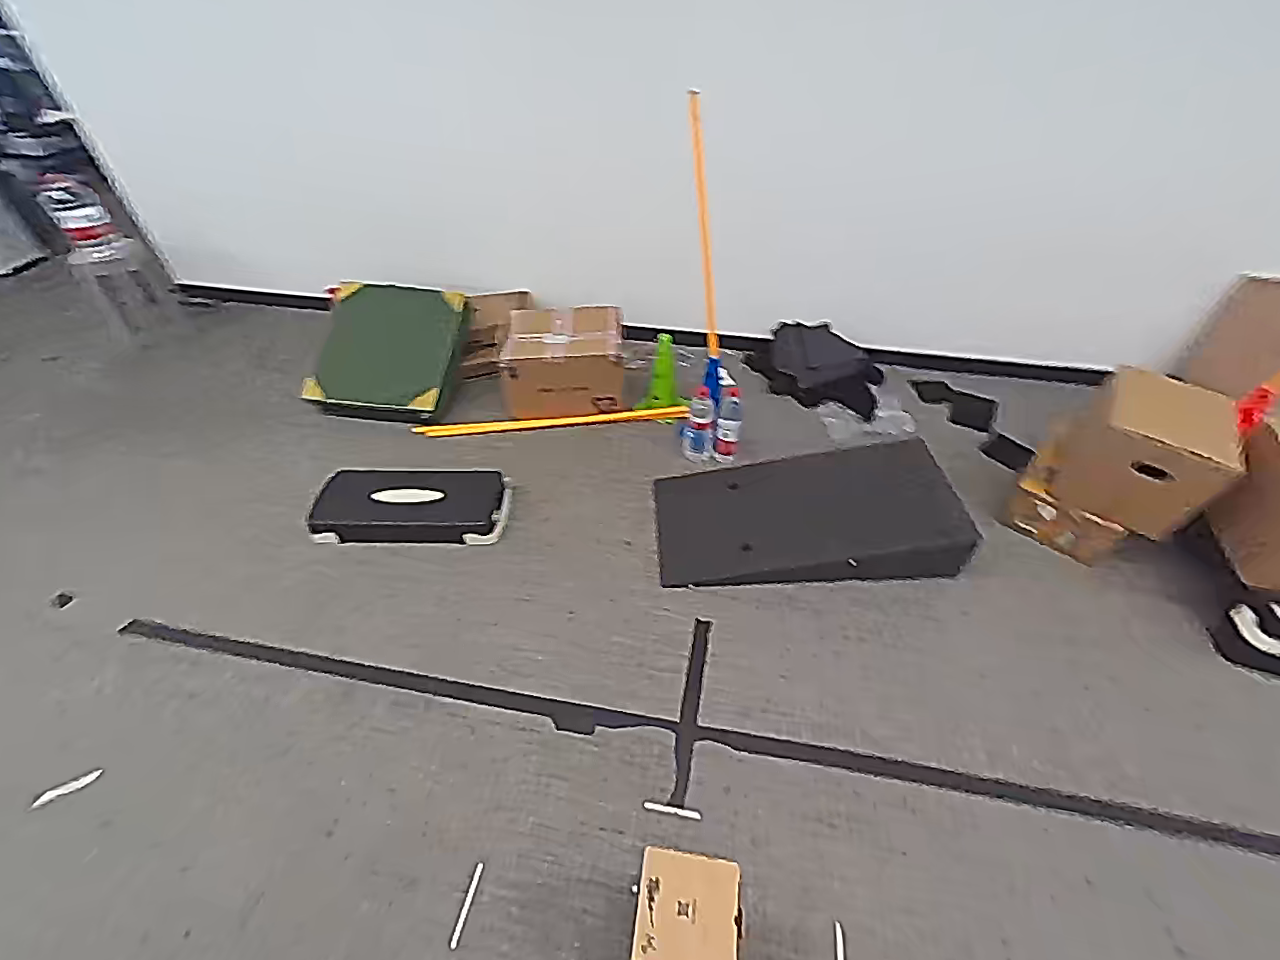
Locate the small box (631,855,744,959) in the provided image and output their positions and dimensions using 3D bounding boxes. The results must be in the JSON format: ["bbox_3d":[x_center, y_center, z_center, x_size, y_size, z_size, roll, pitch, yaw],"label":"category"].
[{"bbox_3d":[0.082,0.798,0.964,0.179,0.176,0.168,8,45,6],"label":"small box"}]
